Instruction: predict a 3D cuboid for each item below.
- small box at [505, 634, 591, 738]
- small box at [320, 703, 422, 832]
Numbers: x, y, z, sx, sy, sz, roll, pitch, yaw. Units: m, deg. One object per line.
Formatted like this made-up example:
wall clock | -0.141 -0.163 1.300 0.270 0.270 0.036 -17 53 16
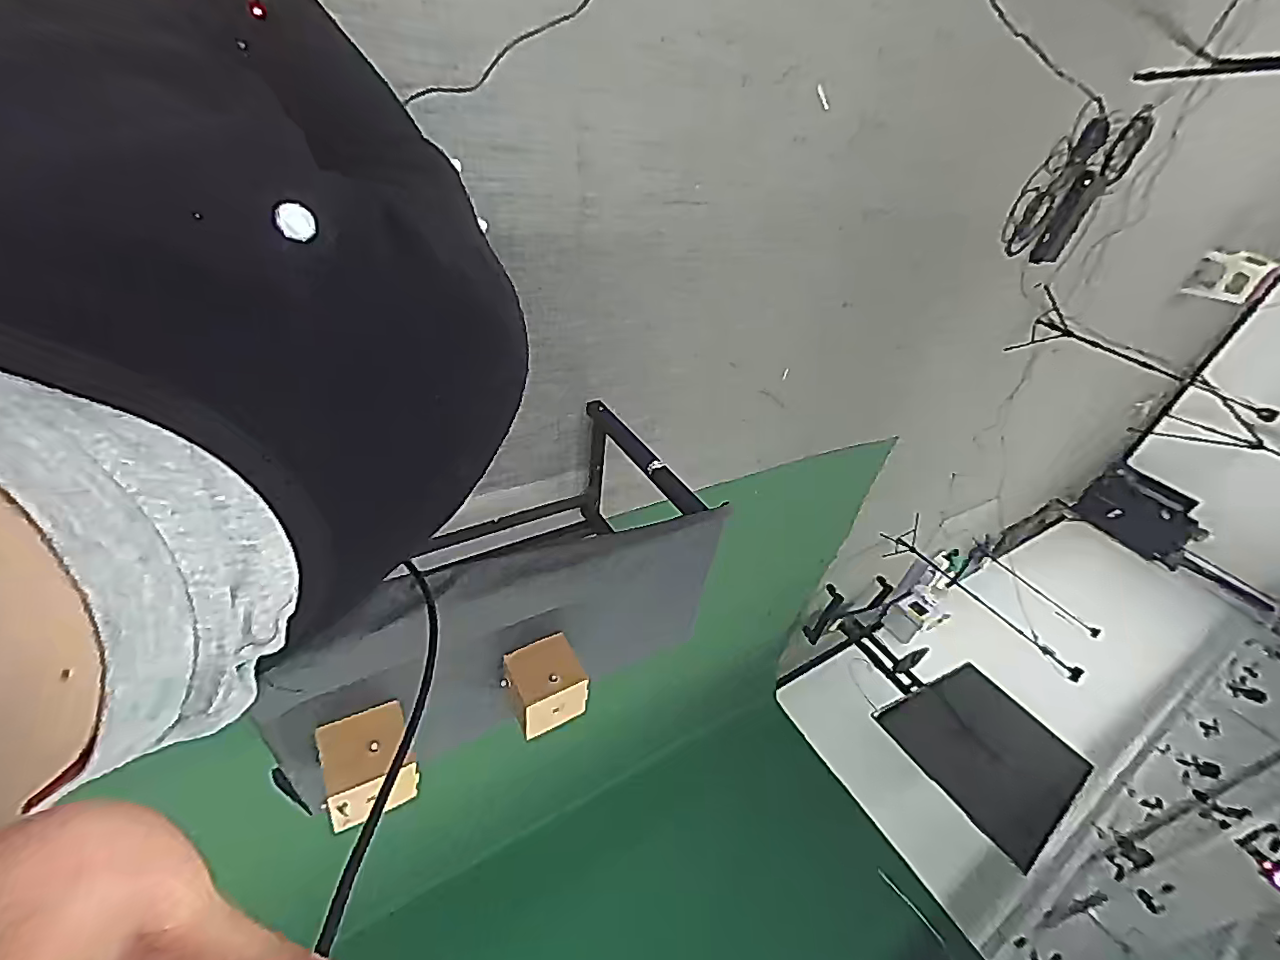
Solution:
small box | -0.252 0.549 1.462 0.179 0.176 0.168 -16 133 -28
small box | -0.615 0.650 1.241 0.179 0.176 0.168 -12 132 -34
